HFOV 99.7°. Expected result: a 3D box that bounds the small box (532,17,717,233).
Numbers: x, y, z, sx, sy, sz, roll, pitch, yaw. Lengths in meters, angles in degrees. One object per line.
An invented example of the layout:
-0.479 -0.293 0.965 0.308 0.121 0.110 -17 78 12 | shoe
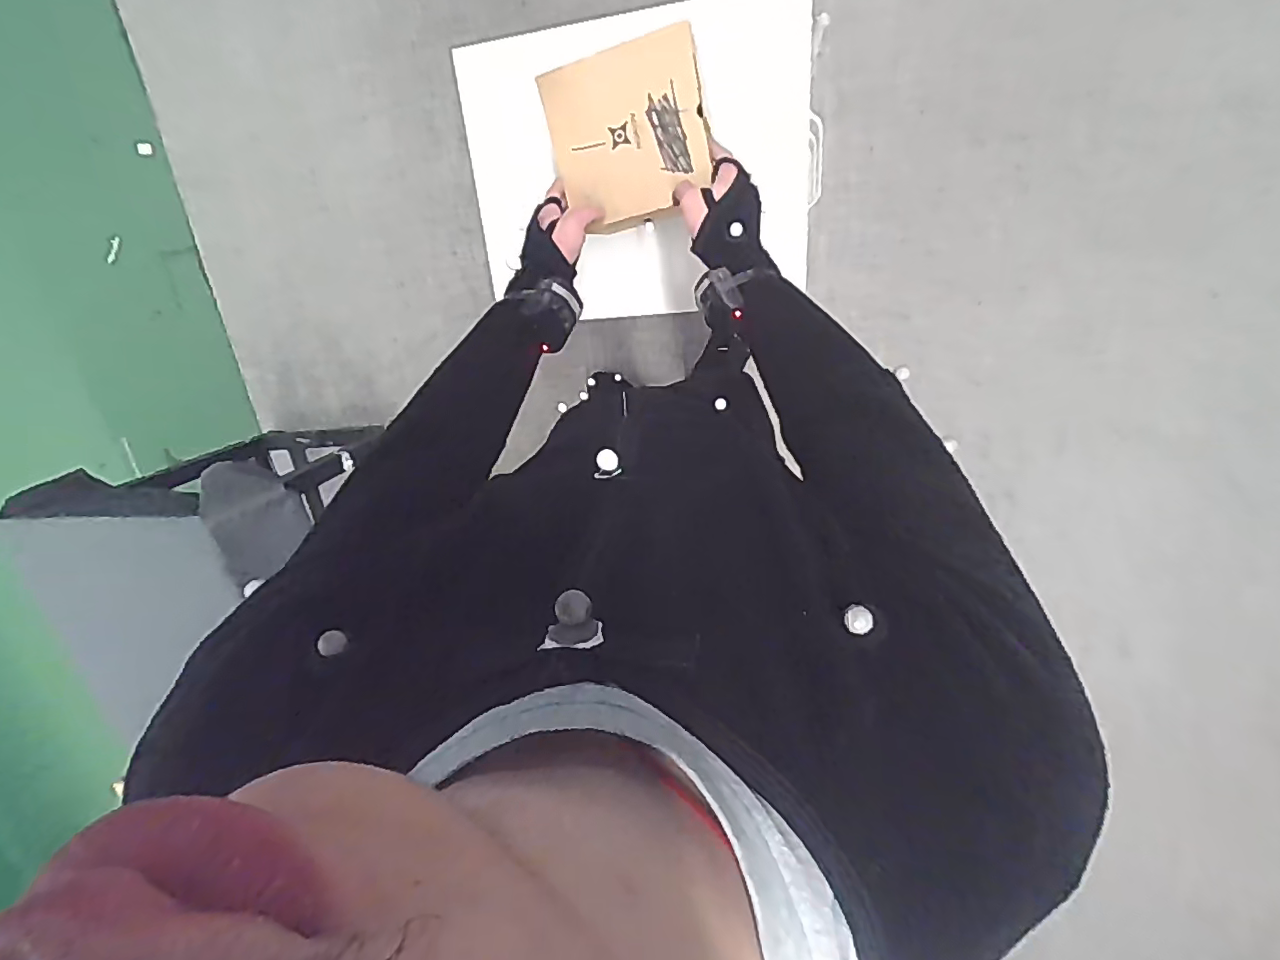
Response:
-0.004 -0.407 0.655 0.179 0.176 0.168 -8 111 14 | small box
